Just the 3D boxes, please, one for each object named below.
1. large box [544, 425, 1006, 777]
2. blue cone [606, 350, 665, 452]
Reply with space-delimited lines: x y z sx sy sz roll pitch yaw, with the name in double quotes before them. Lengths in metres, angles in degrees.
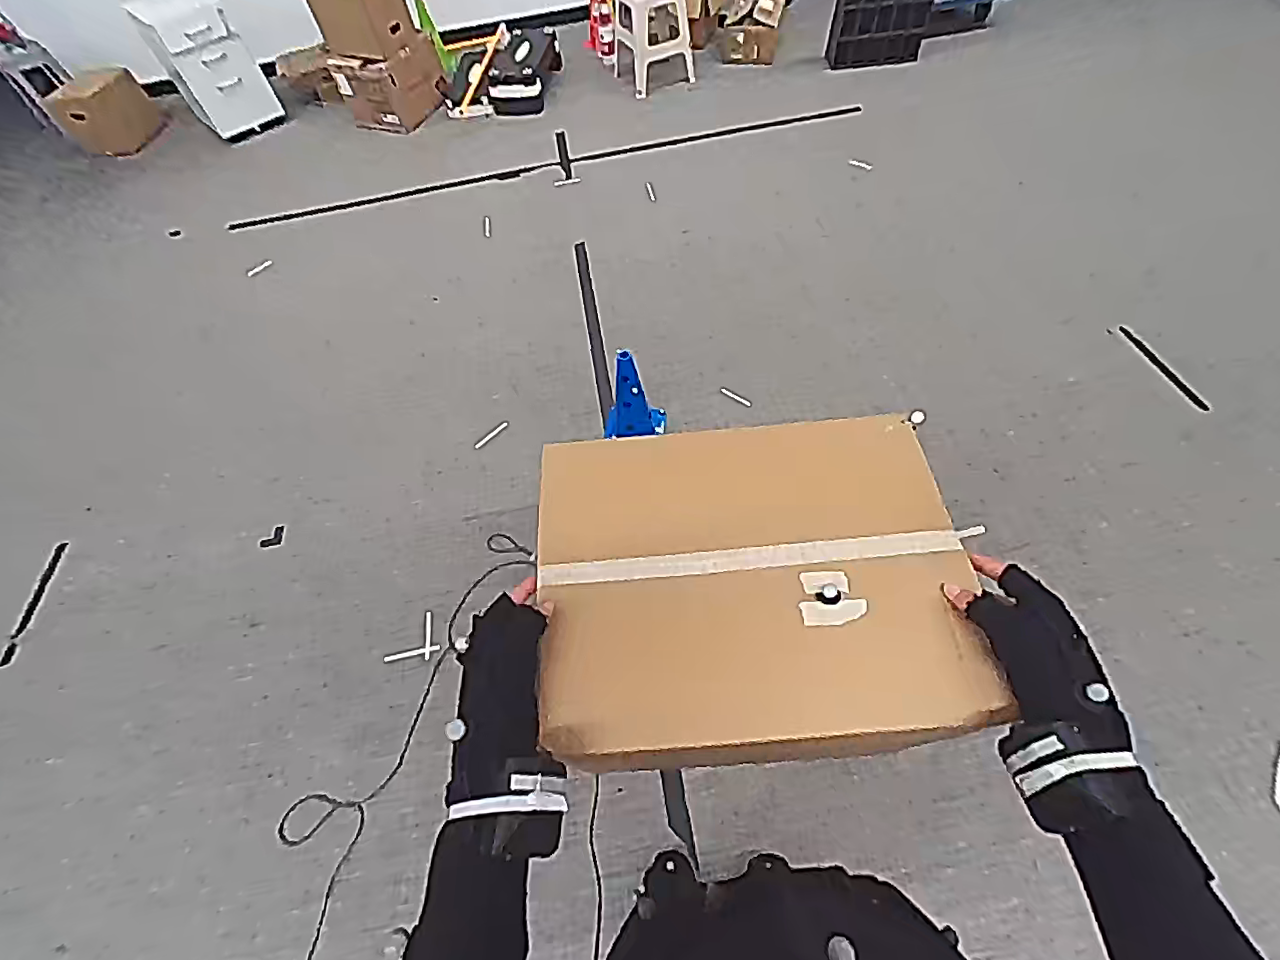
"large box" 0.111 0.164 0.661 0.408 0.320 0.320 -5 59 1
"blue cone" -0.030 -0.255 1.719 0.193 0.380 0.192 6 58 10
